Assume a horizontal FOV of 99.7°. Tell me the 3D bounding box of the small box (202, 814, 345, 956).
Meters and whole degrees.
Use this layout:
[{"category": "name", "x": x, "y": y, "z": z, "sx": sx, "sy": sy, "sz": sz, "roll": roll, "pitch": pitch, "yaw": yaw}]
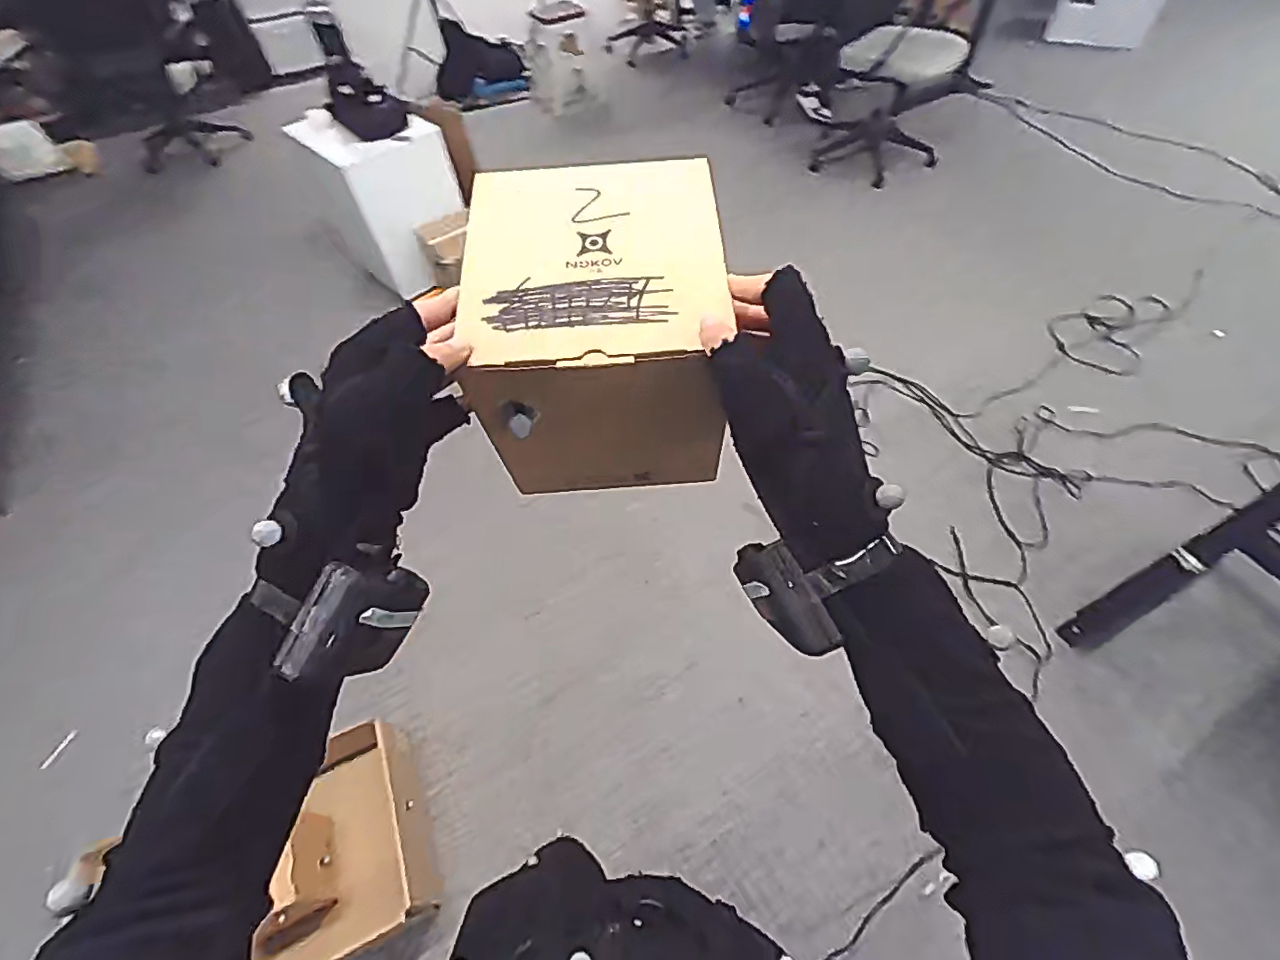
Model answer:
[{"category": "small box", "x": -0.733, "y": 0.813, "z": 1.093, "sx": 0.179, "sy": 0.176, "sz": 0.168, "roll": -24, "pitch": 55, "yaw": -12}]
